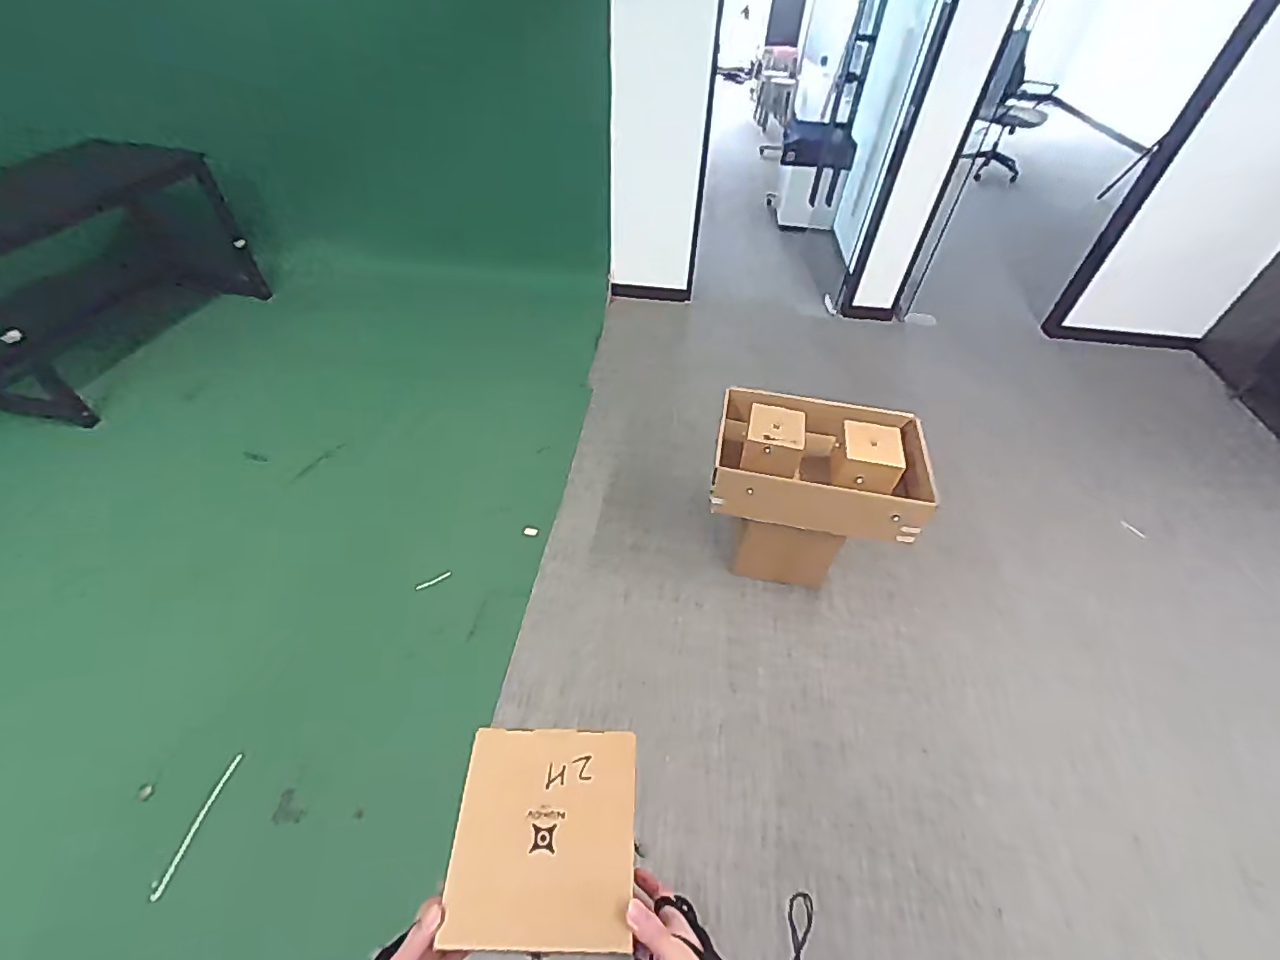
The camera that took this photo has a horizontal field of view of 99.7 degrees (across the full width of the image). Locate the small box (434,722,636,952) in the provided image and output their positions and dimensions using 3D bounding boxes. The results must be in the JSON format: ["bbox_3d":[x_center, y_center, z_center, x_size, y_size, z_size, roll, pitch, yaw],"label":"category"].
[{"bbox_3d":[-0.090,0.373,0.563,0.168,0.176,0.179,2,47,0],"label":"small box"}]

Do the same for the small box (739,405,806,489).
[{"bbox_3d":[0.407,-0.102,1.668,0.168,0.176,0.179,11,47,9],"label":"small box"}]

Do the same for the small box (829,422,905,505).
[{"bbox_3d":[0.679,-0.048,1.636,0.168,0.176,0.179,10,47,7],"label":"small box"}]
